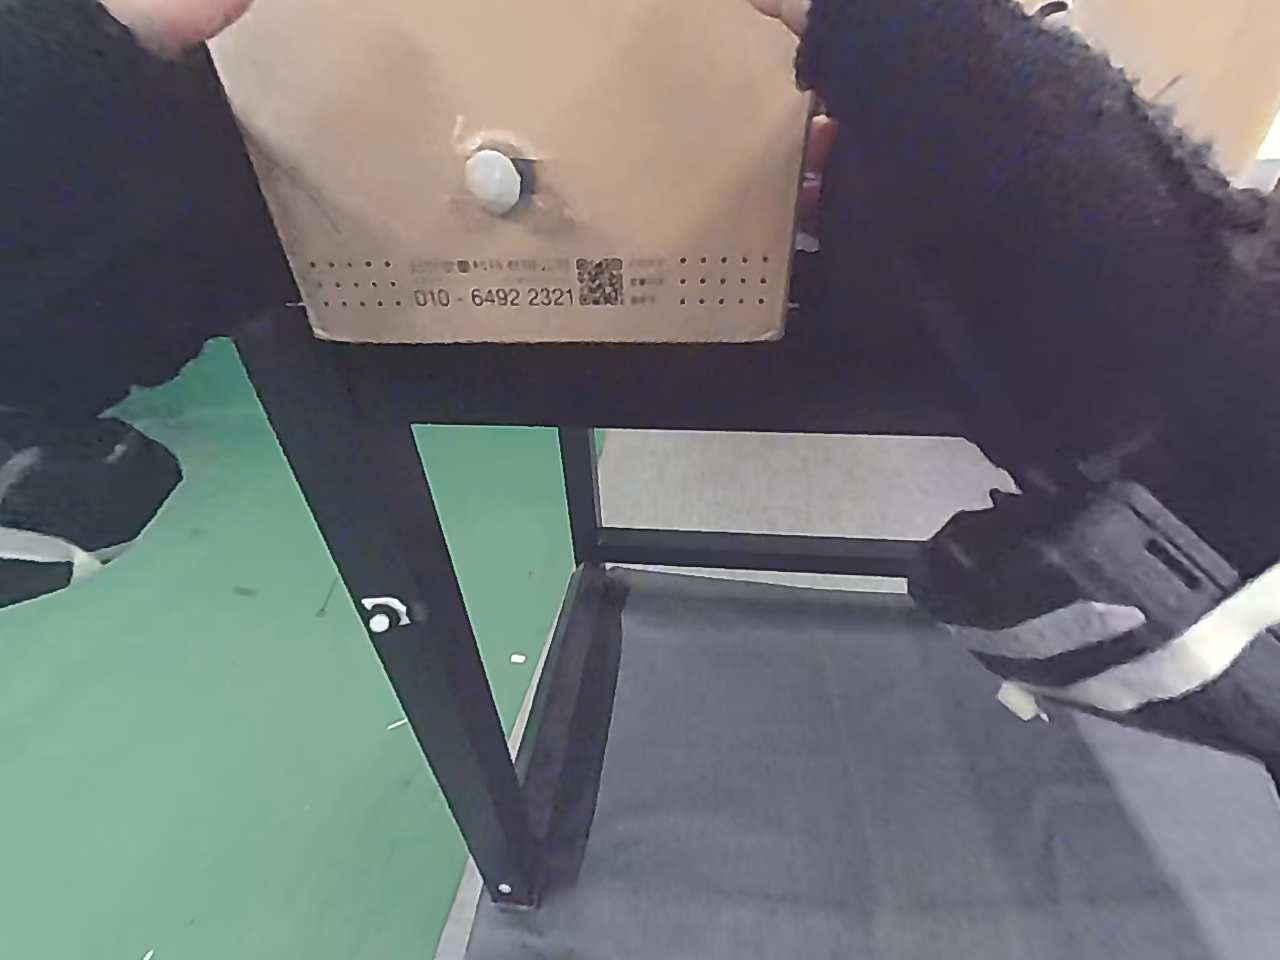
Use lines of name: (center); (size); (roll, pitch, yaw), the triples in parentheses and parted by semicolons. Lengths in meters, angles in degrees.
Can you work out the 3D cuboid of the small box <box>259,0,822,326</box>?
small box: (-0.028, -0.171, 0.217); (0.168, 0.176, 0.179); (1, 34, 4)
